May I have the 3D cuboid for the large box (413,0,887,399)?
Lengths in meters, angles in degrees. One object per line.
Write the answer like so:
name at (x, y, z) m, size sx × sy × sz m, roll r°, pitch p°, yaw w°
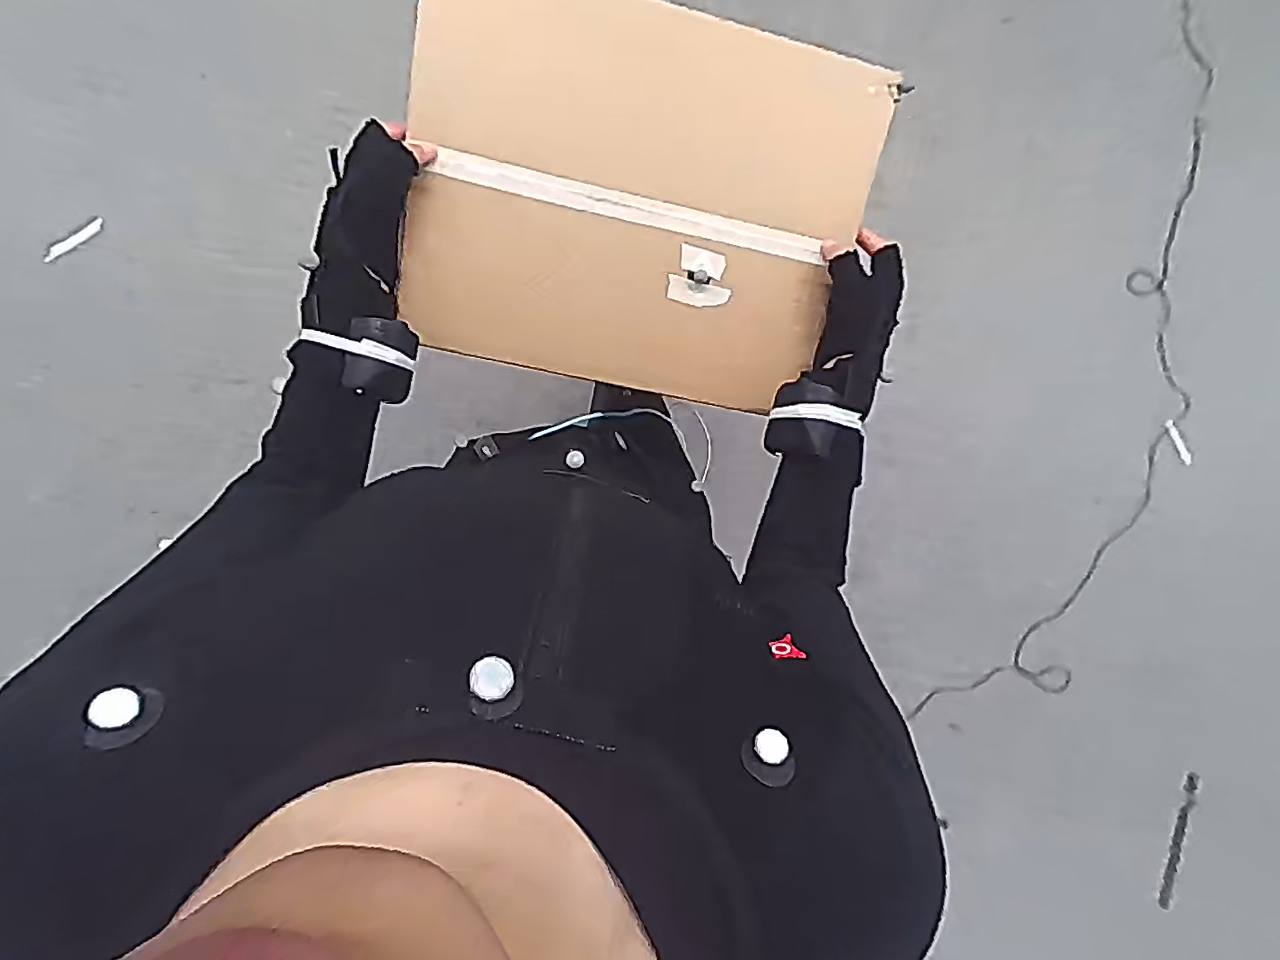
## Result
large box at (-0.011, -0.299, 0.641) m, size 0.408 × 0.320 × 0.320 m, roll 9°, pitch 106°, yaw -8°
